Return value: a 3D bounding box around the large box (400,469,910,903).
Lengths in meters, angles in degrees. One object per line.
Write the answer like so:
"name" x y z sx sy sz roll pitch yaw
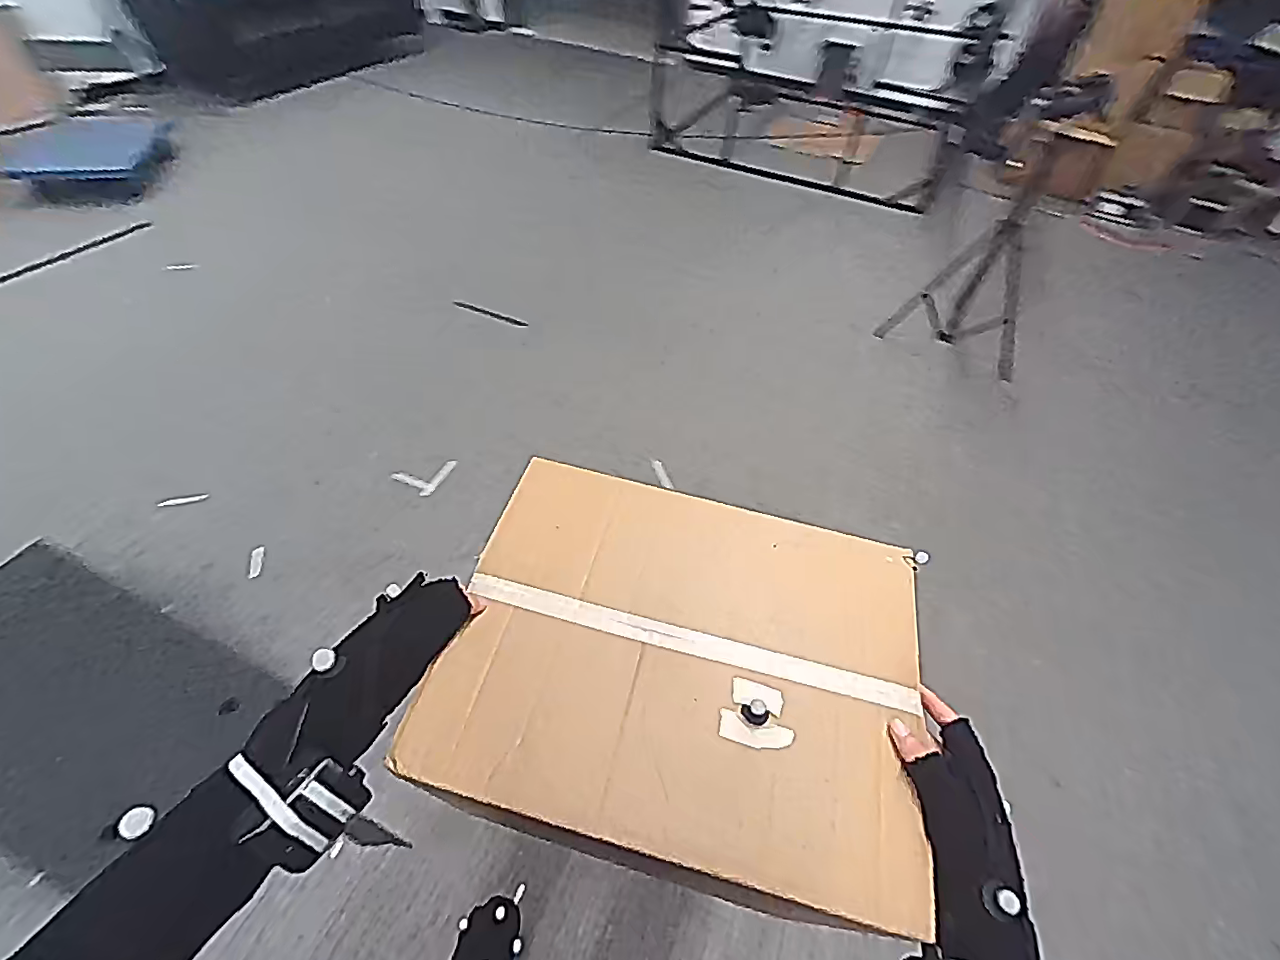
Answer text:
"large box" 0.024 0.235 0.611 0.408 0.320 0.320 14 53 5

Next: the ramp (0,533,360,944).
"ramp" -1.235 0.538 1.270 0.991 0.206 0.509 21 50 11
